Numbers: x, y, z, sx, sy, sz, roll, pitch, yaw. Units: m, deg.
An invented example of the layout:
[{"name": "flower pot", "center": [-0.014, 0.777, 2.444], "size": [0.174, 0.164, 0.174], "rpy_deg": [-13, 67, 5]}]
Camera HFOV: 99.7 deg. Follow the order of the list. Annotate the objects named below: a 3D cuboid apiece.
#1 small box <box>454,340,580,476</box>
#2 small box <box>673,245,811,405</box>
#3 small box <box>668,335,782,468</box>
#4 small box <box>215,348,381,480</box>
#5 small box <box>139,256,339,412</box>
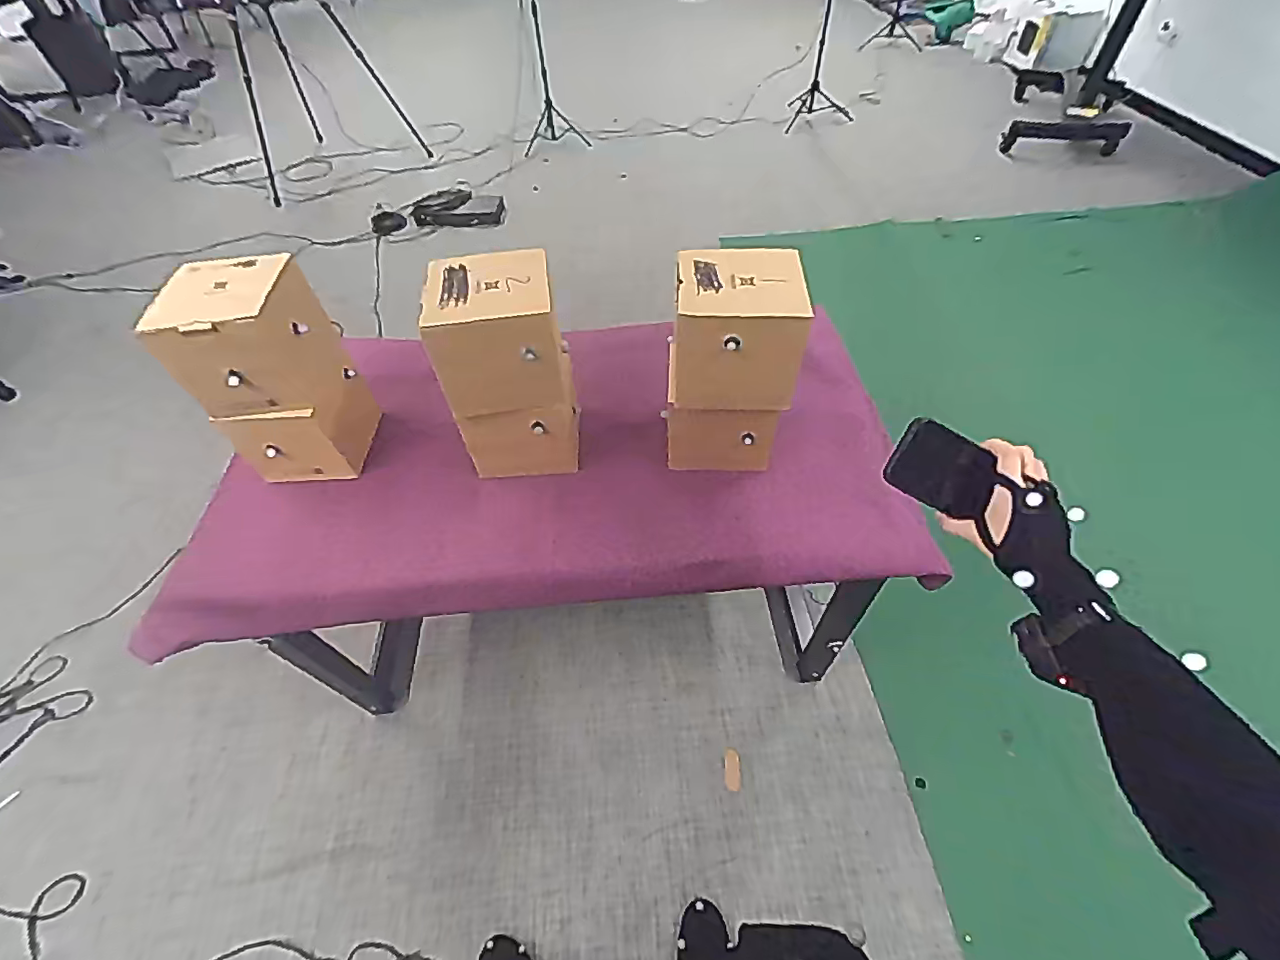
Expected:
[{"name": "small box", "center": [-0.201, -0.122, 0.947], "size": [0.179, 0.176, 0.168], "rpy_deg": [-4, 51, 1]}, {"name": "small box", "center": [0.140, -0.224, 0.797], "size": [0.179, 0.176, 0.168], "rpy_deg": [1, 51, 4]}, {"name": "small box", "center": [0.139, -0.134, 0.934], "size": [0.179, 0.176, 0.168], "rpy_deg": [1, 51, 5]}, {"name": "small box", "center": [-0.592, -0.111, 0.967], "size": [0.168, 0.176, 0.179], "rpy_deg": [-3, 51, 1]}, {"name": "small box", "center": [-0.601, -0.220, 0.843], "size": [0.168, 0.176, 0.179], "rpy_deg": [-7, 52, -3]}]
